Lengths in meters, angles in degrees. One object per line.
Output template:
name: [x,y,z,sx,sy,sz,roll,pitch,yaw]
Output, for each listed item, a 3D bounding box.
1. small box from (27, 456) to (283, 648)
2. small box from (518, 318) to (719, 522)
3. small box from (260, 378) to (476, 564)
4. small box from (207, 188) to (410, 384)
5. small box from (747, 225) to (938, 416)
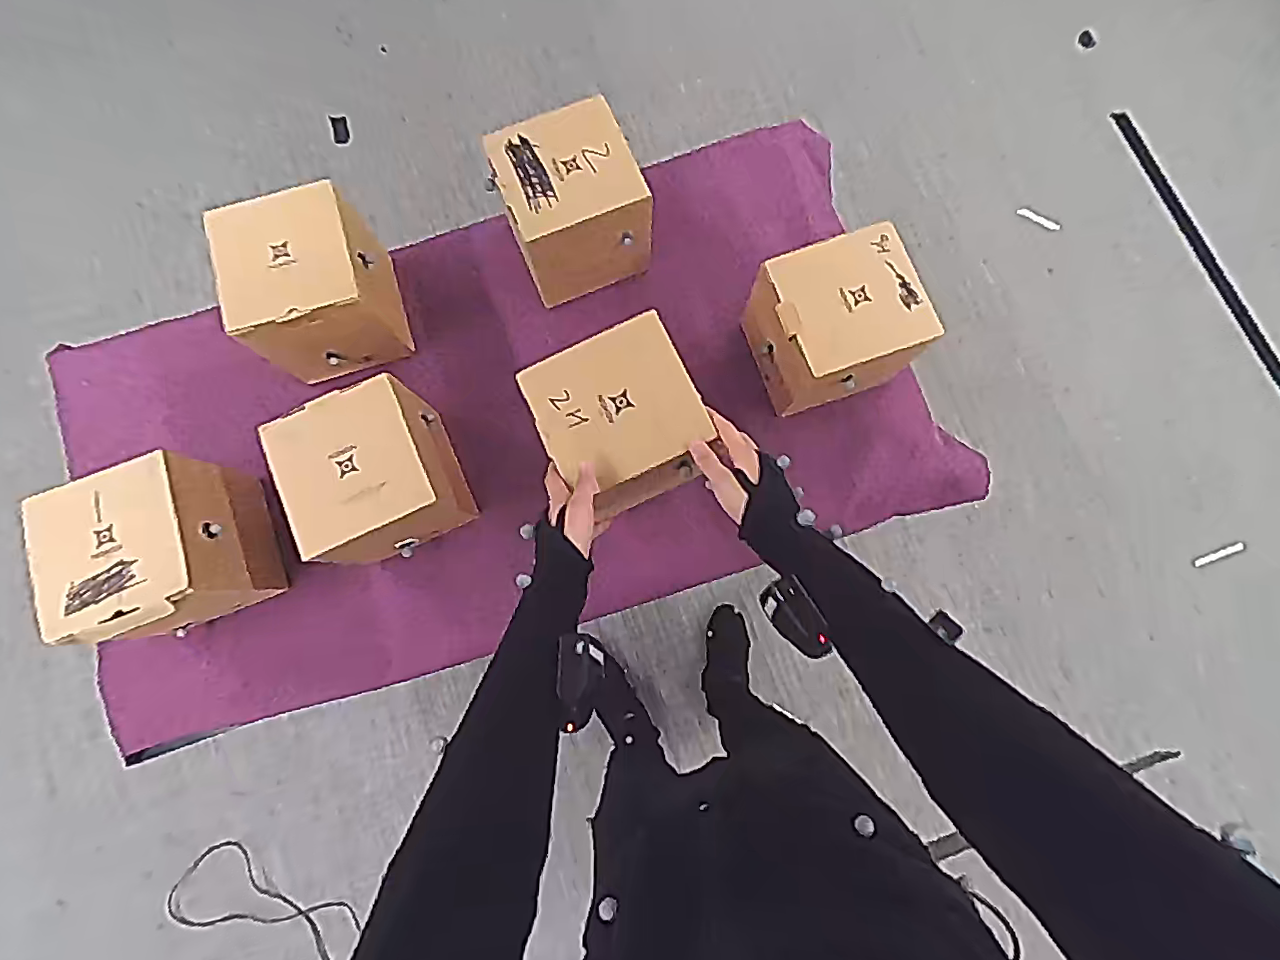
small box: [-0.599,0.093,0.690,0.168,0.176,0.179,-22,79,-4]
small box: [-0.020,-0.061,0.661,0.179,0.176,0.168,-25,78,1]
small box: [-0.341,-0.001,0.708,0.168,0.176,0.179,-25,80,-3]
small box: [-0.447,-0.259,0.753,0.168,0.176,0.179,-17,80,-4]
small box: [0.257,-0.204,0.741,0.179,0.176,0.168,-19,80,-2]
